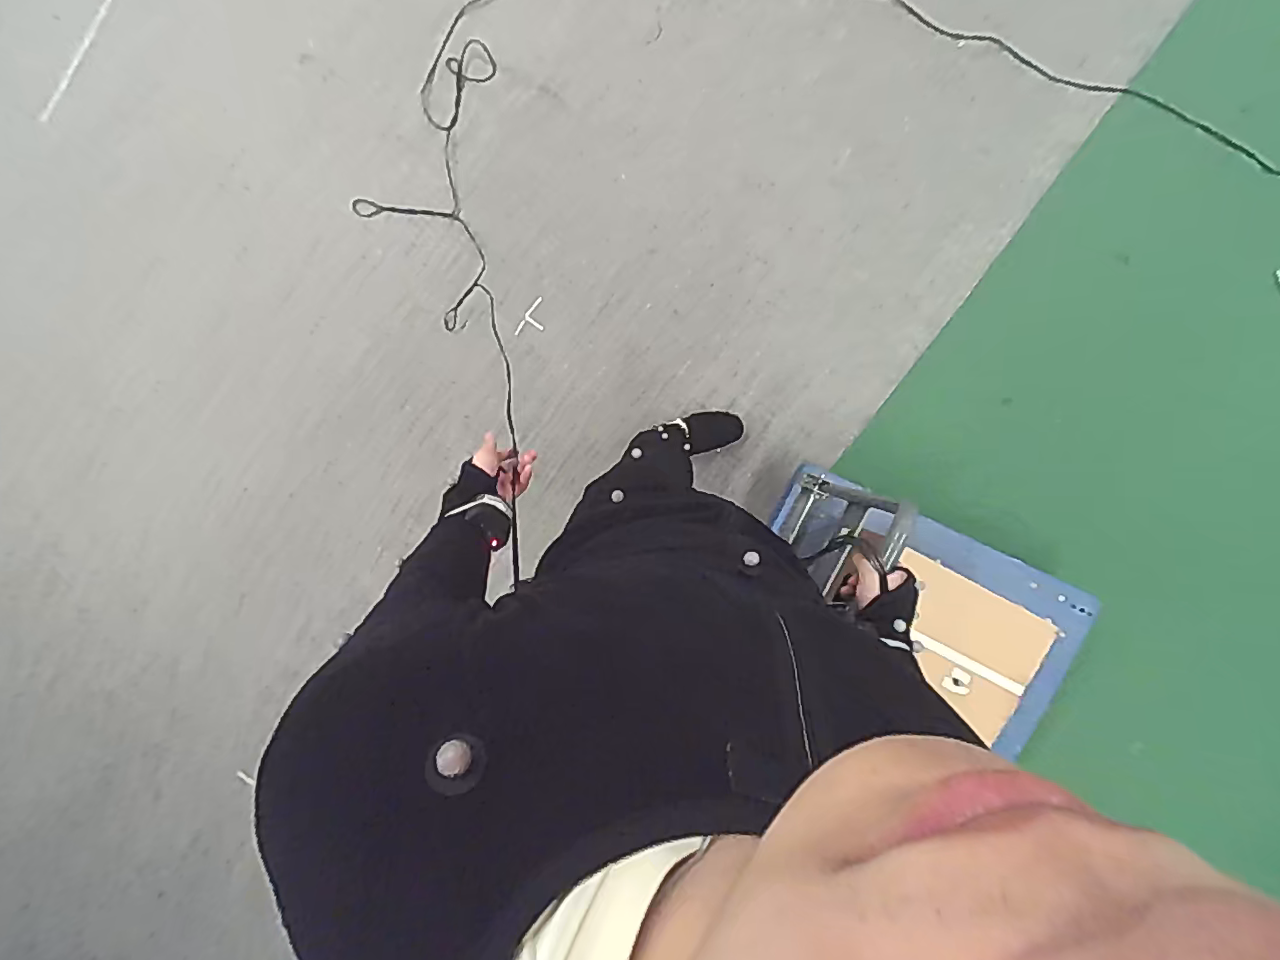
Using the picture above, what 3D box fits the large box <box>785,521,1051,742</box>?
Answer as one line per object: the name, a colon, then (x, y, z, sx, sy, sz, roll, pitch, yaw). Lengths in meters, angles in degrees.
large box: (0.626, 0.333, 1.295, 0.408, 0.320, 0.320, 28, 94, -1)
